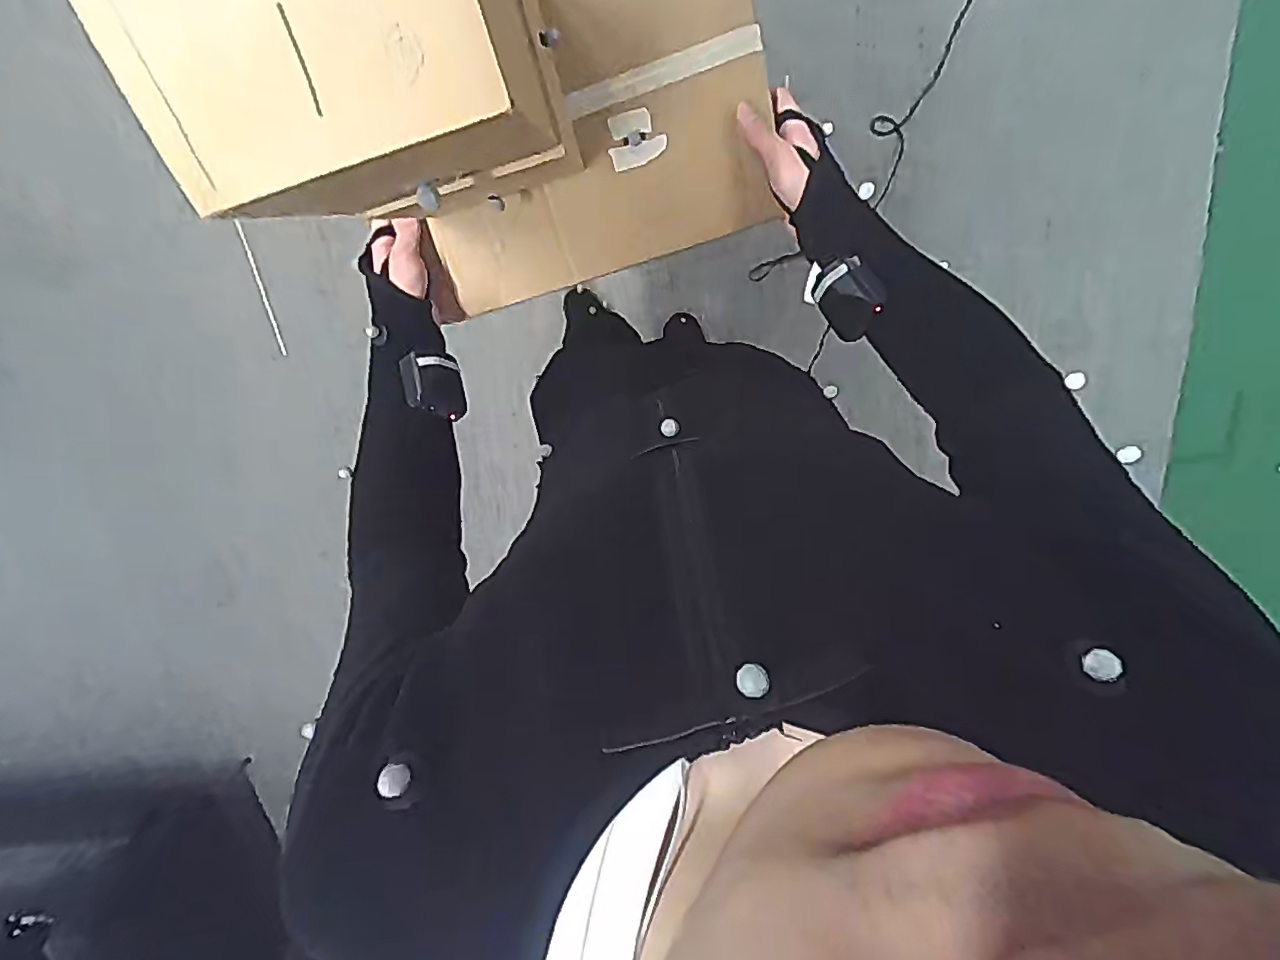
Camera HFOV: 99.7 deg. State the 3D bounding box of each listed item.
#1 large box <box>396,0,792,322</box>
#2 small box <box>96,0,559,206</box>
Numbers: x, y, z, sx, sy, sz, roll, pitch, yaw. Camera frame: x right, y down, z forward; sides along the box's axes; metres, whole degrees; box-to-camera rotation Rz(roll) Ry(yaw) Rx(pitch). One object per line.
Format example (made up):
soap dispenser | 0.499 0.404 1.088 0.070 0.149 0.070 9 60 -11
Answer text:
large box | -0.075 -0.425 0.665 0.408 0.320 0.320 -16 116 6
small box | -0.152 -0.262 0.289 0.168 0.176 0.179 -14 116 6
